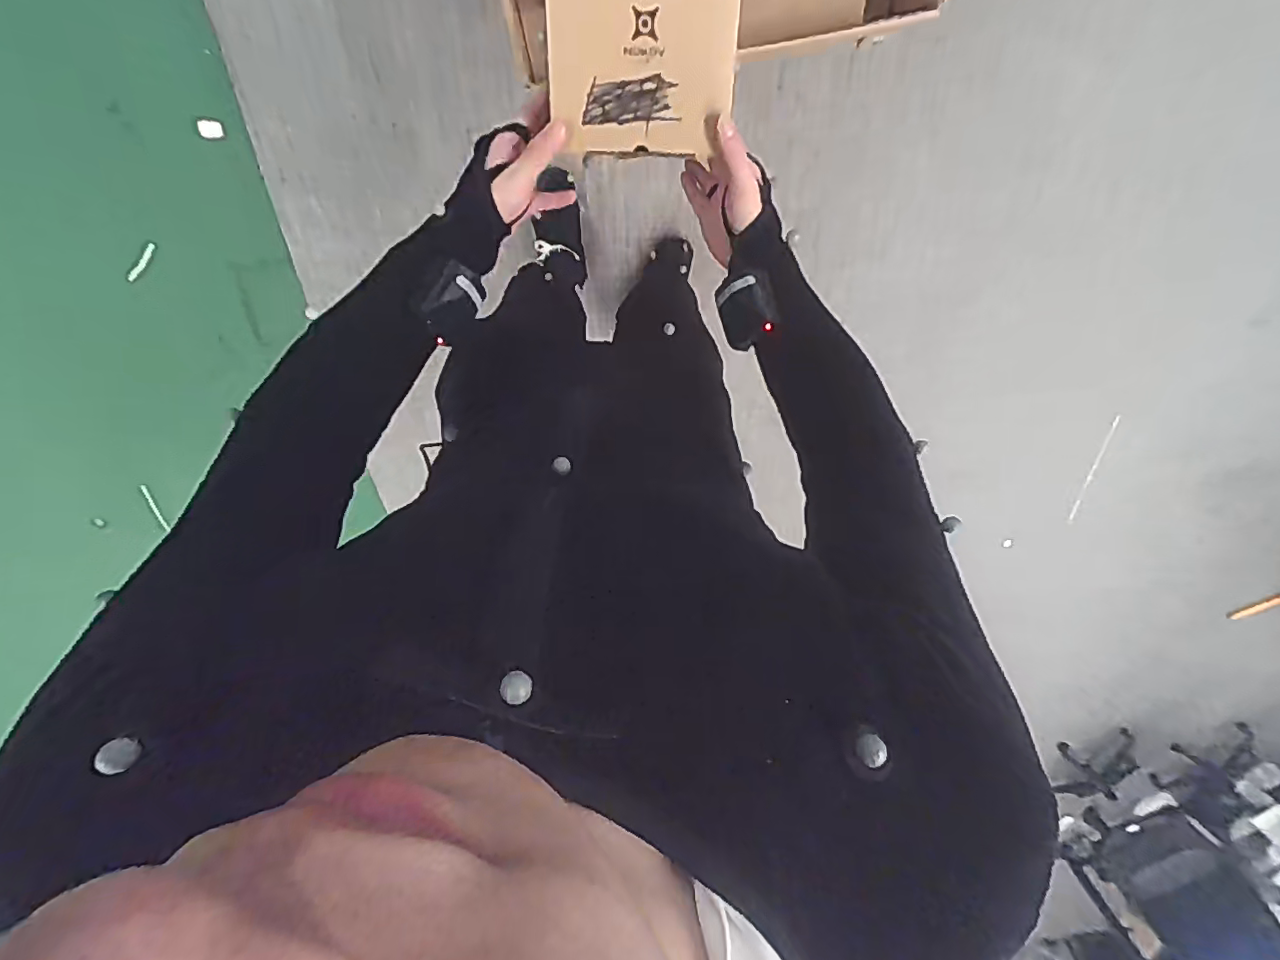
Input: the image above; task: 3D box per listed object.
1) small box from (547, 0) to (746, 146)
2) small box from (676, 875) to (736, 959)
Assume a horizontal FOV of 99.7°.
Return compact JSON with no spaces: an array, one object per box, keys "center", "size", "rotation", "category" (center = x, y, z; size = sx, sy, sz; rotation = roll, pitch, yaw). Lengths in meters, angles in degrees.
[{"center":[0.000,-0.424,0.514],"size":[0.168,0.176,0.179],"rotation":[-2,122,-6],"category":"small box"},{"center":[0.218,1.461,1.811],"size":[0.168,0.176,0.179],"rotation":[-7,123,-4],"category":"small box"}]
